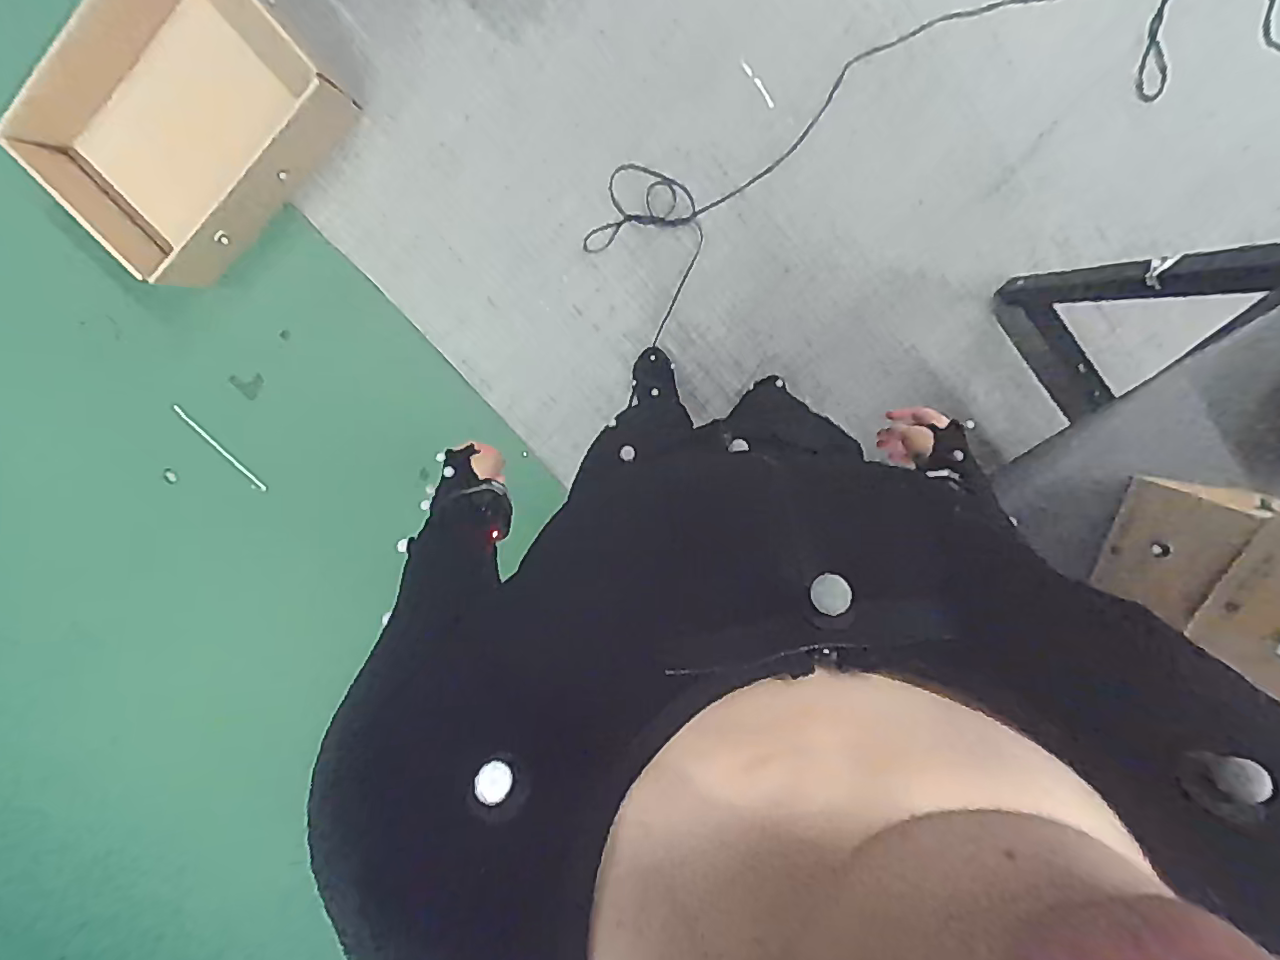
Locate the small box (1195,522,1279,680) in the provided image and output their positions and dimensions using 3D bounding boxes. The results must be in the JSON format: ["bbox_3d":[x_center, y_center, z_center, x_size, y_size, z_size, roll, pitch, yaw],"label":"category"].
[{"bbox_3d":[0.716,0.143,0.514,0.179,0.176,0.168,19,107,-5],"label":"small box"}]

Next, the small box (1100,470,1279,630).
[{"bbox_3d":[0.735,0.092,0.668,0.179,0.176,0.168,8,107,-1],"label":"small box"}]
